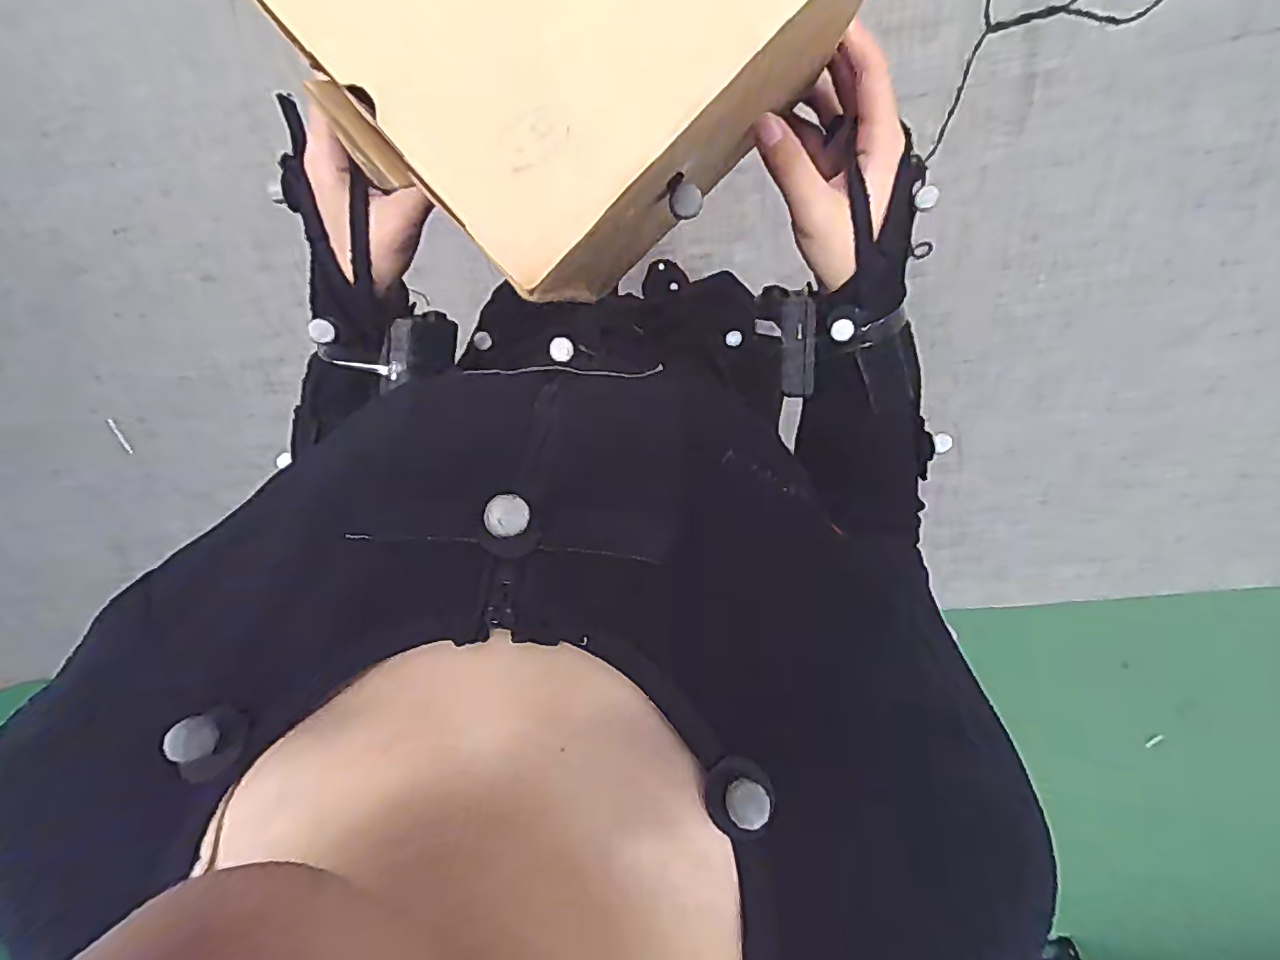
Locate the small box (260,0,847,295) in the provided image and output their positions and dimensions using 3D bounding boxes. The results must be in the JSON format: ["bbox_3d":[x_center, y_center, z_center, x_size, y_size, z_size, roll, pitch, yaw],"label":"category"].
[{"bbox_3d":[-0.024,-0.206,0.253,0.179,0.176,0.168,-40,100,16],"label":"small box"}]
